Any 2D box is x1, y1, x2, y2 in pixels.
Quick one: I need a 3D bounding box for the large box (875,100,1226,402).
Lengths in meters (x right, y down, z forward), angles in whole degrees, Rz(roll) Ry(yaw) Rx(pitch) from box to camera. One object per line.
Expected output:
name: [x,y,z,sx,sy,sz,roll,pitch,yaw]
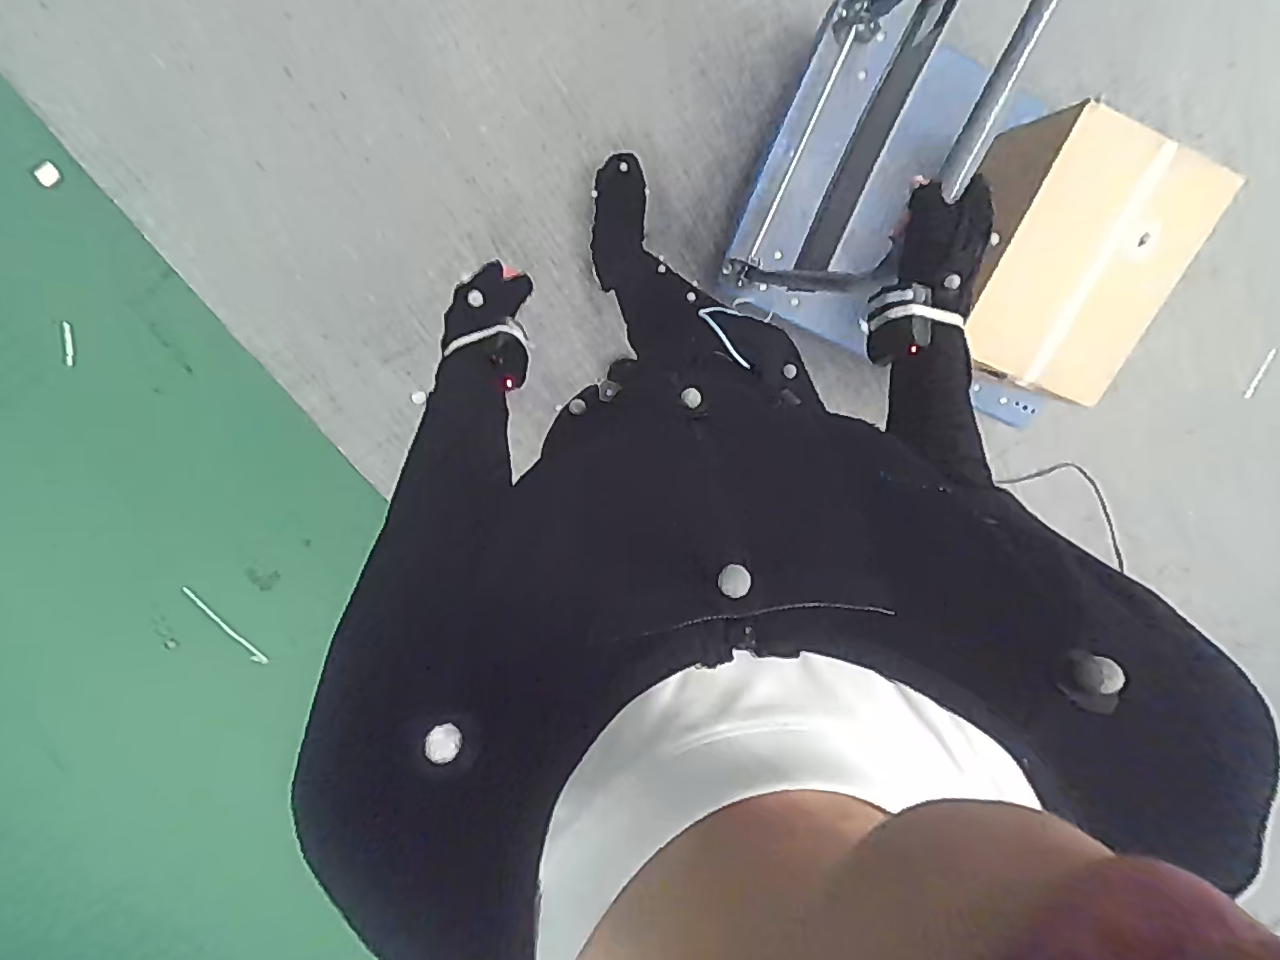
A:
large box: [0.742,-0.410,1.054,0.320,0.320,0.408,19,106,-10]
